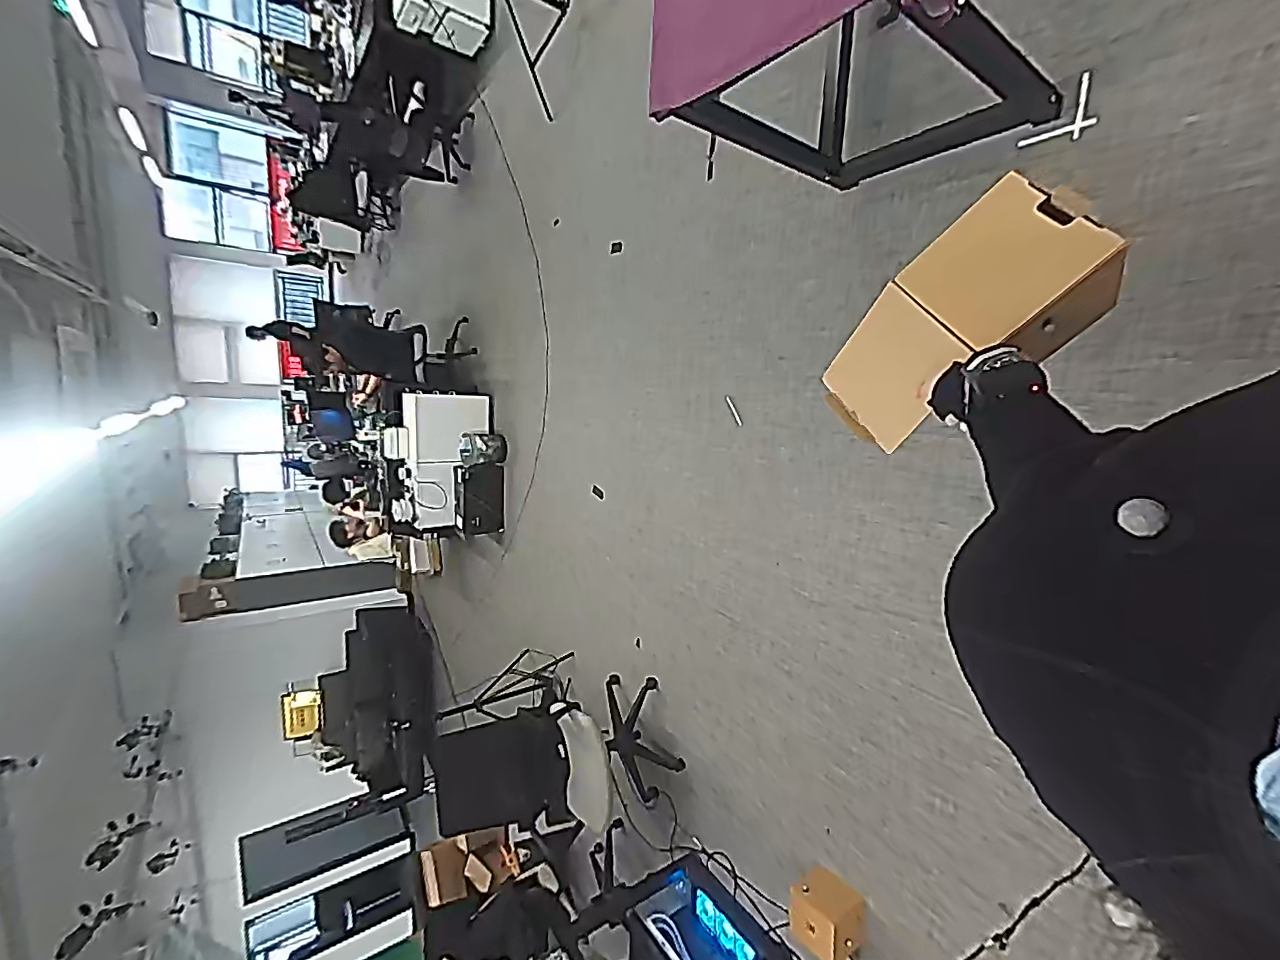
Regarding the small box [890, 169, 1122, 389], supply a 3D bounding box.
[{"bbox_3d":[0.470,-0.246,0.703,0.179,0.176,0.168,-44,58,23],"label":"small box"}]
